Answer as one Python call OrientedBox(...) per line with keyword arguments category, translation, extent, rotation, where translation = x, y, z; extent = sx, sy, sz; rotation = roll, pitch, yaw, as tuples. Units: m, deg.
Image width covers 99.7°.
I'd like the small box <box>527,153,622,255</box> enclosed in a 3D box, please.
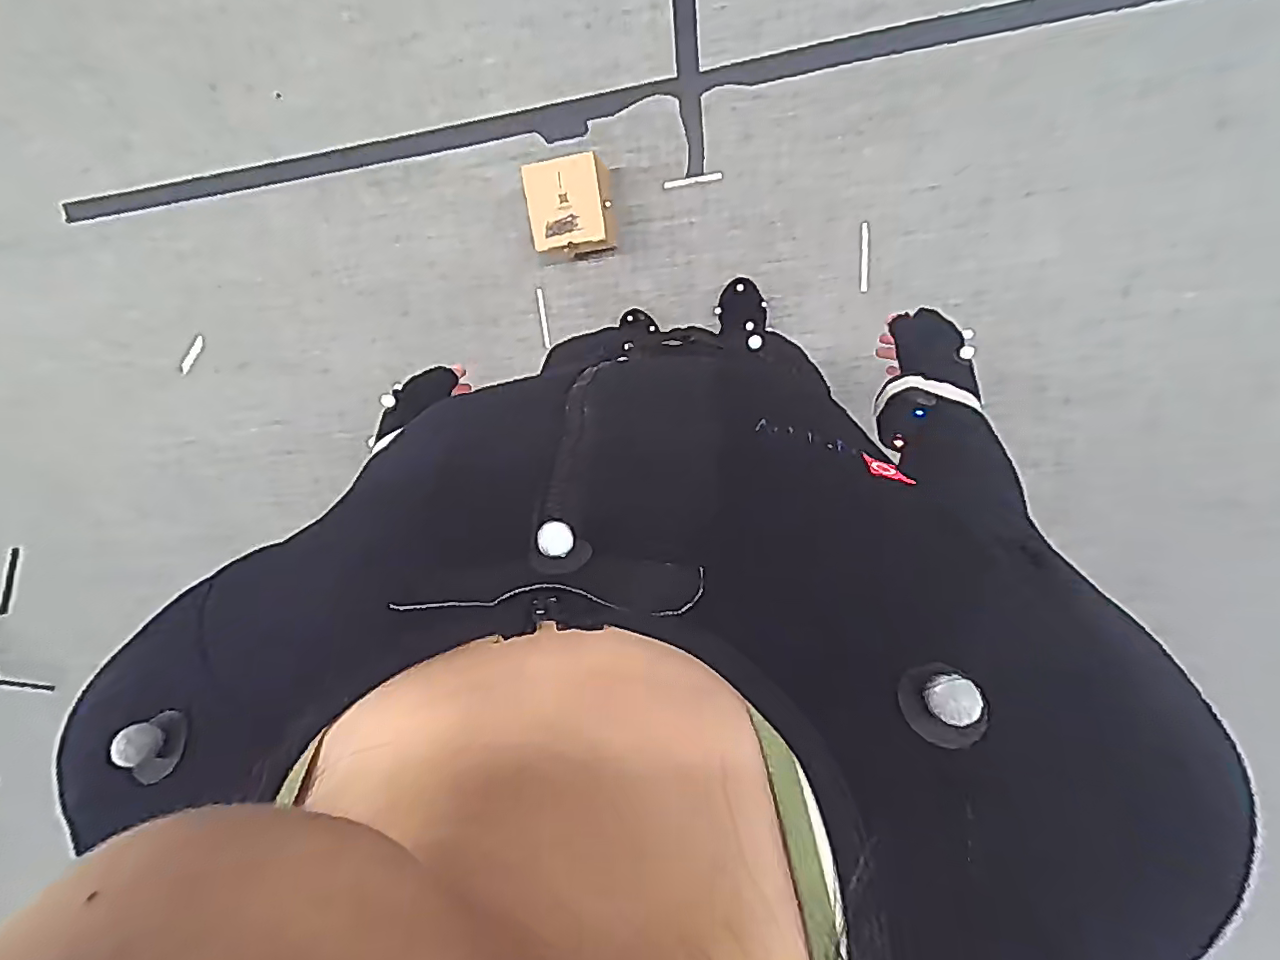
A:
OrientedBox(category="small box", translation=(-0.144, -0.629, 1.257), extent=(0.168, 0.176, 0.179), rotation=(-5, 106, 11))
